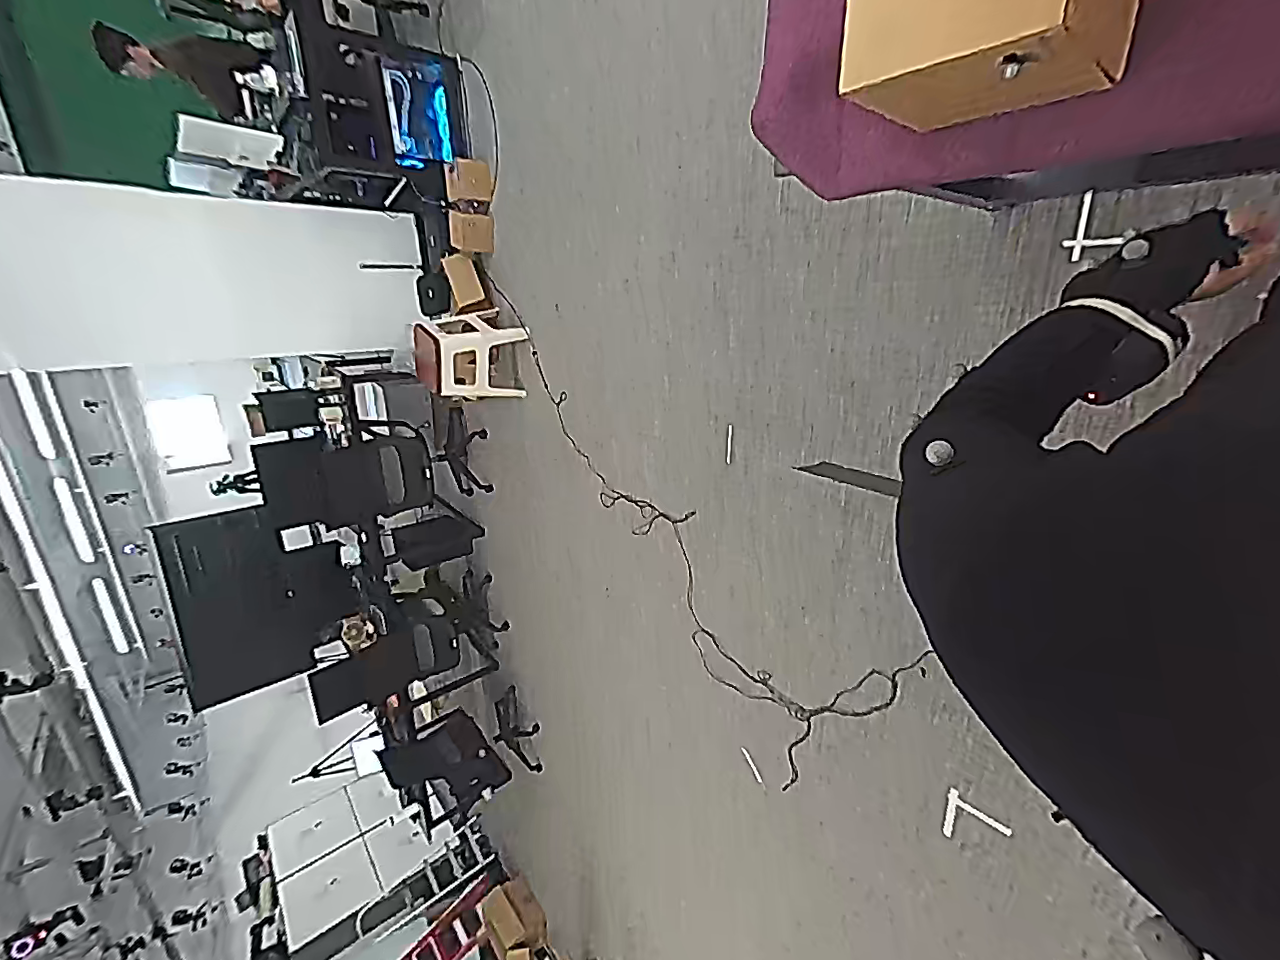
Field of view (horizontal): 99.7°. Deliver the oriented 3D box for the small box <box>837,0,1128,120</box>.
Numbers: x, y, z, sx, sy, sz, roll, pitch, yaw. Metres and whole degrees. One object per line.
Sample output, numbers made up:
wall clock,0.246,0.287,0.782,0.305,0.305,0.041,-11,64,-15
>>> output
small box,0.302,-0.439,0.470,0.179,0.176,0.168,19,116,47
